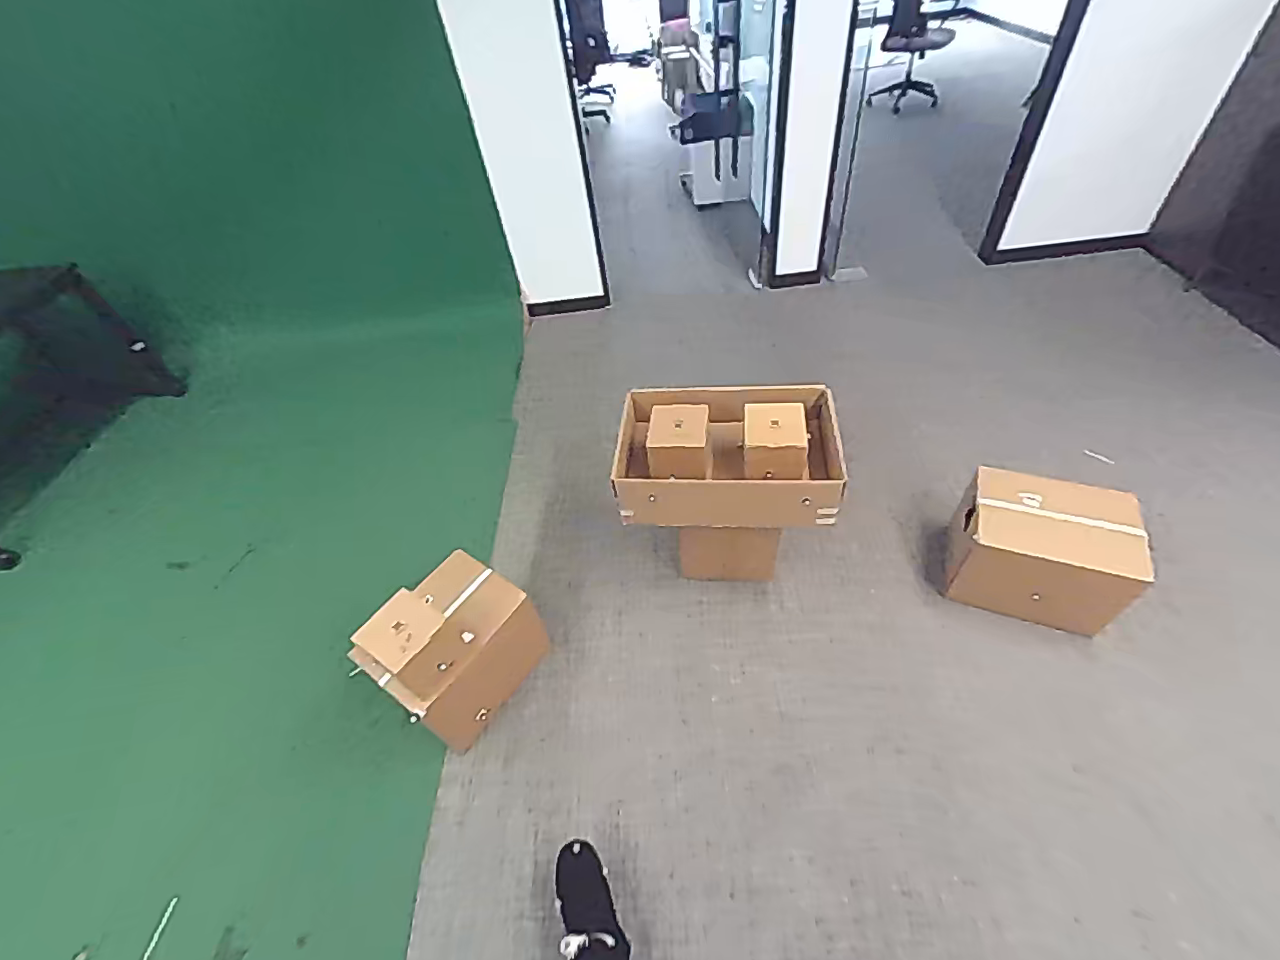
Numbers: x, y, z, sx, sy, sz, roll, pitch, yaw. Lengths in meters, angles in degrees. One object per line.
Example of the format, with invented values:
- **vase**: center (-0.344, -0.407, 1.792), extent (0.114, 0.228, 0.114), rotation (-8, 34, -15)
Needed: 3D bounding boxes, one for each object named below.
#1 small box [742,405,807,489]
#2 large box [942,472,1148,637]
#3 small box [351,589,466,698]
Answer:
- **small box**: center (0.379, -0.095, 1.548), extent (0.168, 0.176, 0.179), rotation (1, 49, 9)
- **large box**: center (1.176, 0.221, 1.625), extent (0.408, 0.320, 0.320), rotation (12, 50, 20)
- **small box**: center (-0.570, 0.412, 1.351), extent (0.179, 0.176, 0.168), rotation (24, 55, 25)
